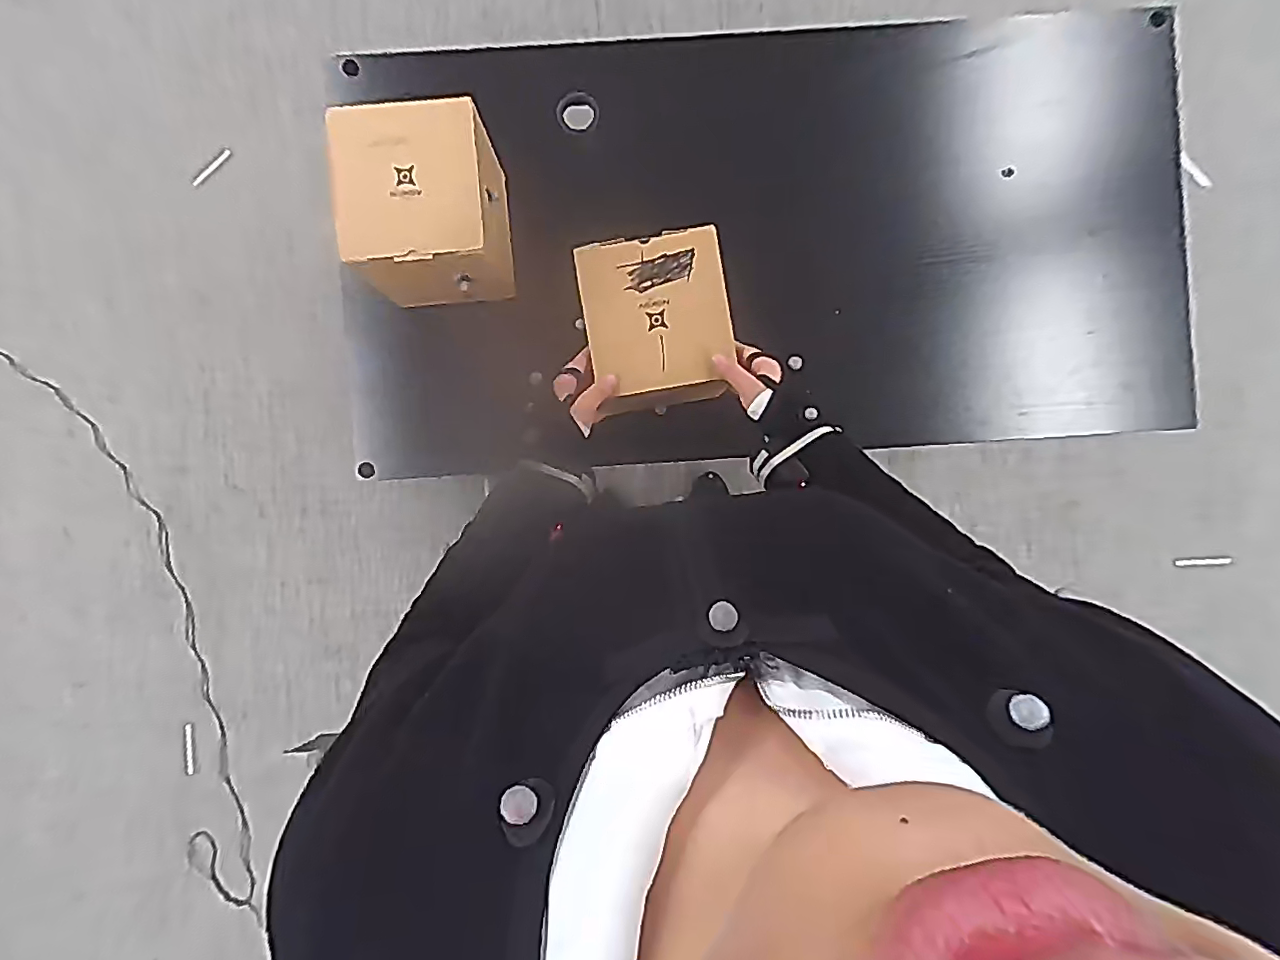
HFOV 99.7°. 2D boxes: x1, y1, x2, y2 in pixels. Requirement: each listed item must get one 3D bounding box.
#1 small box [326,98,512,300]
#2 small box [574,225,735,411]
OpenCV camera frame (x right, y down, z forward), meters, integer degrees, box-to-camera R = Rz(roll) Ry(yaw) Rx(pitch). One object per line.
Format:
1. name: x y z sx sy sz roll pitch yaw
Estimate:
1. small box: -0.267 -0.341 0.692 0.168 0.176 0.179 -6 90 -2
2. small box: 0.015 -0.195 0.696 0.168 0.176 0.179 -9 91 0
